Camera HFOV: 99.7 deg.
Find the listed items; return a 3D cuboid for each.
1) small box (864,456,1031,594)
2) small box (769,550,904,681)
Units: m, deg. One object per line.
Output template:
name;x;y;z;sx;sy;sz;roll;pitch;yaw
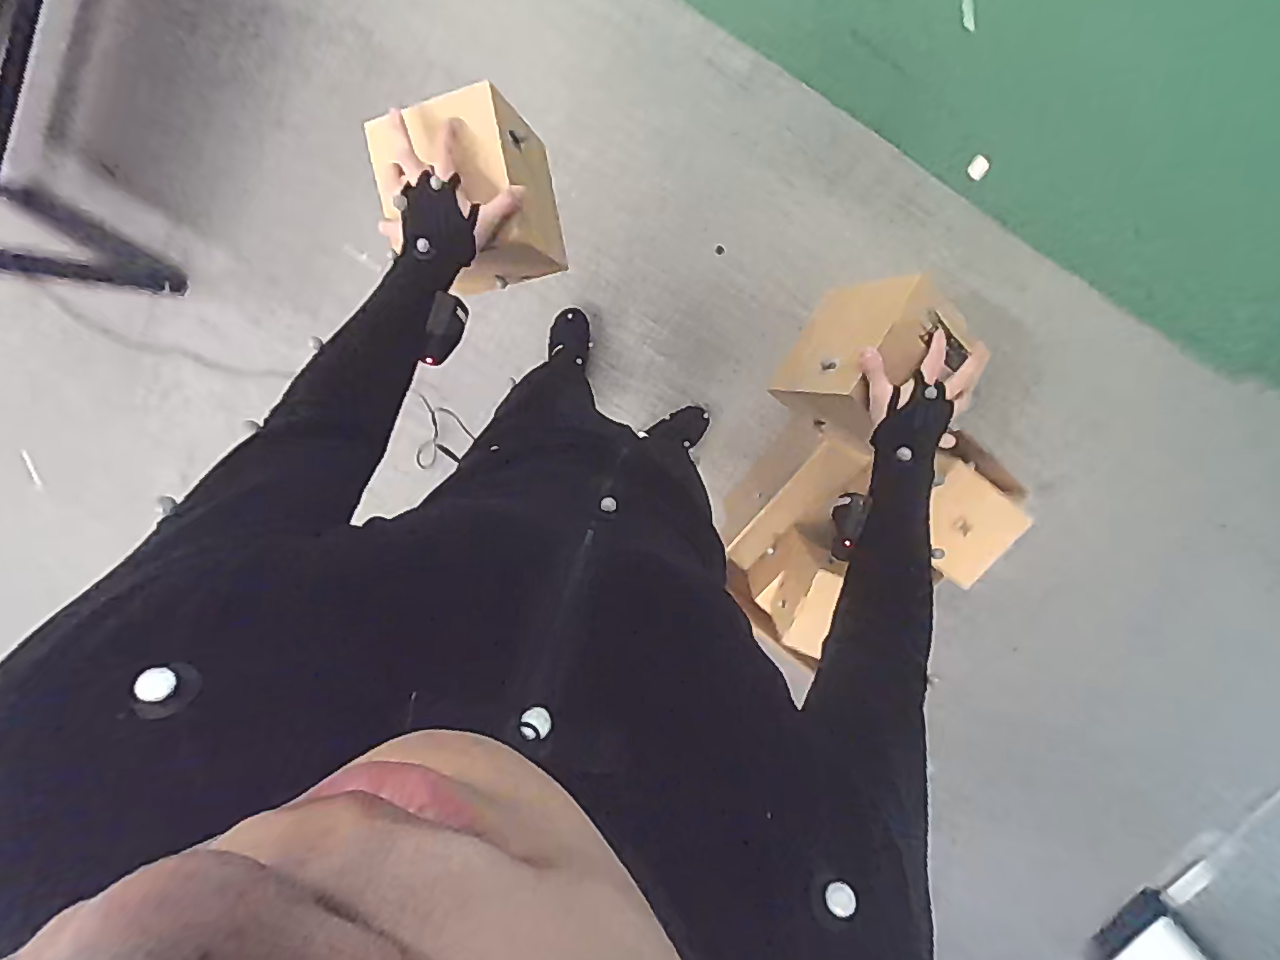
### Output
small box;0.561;0.073;1.013;0.179;0.176;0.168;37;103;-3
small box;0.373;0.255;1.067;0.179;0.176;0.168;22;104;-1
